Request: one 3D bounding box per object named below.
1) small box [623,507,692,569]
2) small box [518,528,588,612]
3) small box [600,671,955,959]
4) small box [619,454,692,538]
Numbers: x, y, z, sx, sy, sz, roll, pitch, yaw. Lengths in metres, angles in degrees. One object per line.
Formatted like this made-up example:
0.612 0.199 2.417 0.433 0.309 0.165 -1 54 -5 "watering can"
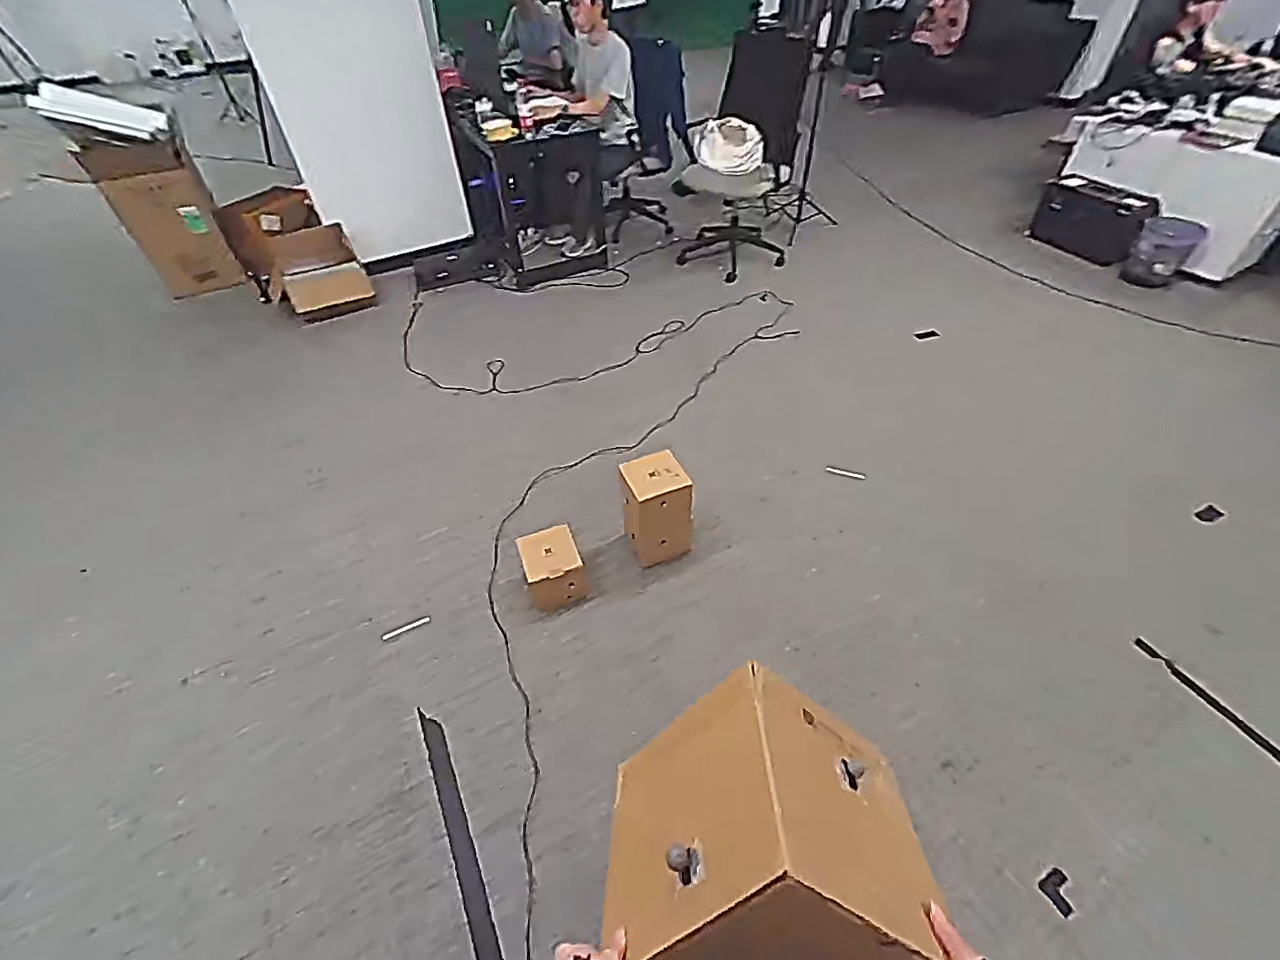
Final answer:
0.060 0.164 1.779 0.179 0.176 0.168 -20 49 -16 "small box"
-0.266 0.286 1.677 0.168 0.176 0.179 -17 47 -14 "small box"
0.092 0.289 0.413 0.168 0.179 0.176 37 19 -12 "small box"
0.047 0.053 1.656 0.179 0.176 0.168 -18 48 -15 "small box"
